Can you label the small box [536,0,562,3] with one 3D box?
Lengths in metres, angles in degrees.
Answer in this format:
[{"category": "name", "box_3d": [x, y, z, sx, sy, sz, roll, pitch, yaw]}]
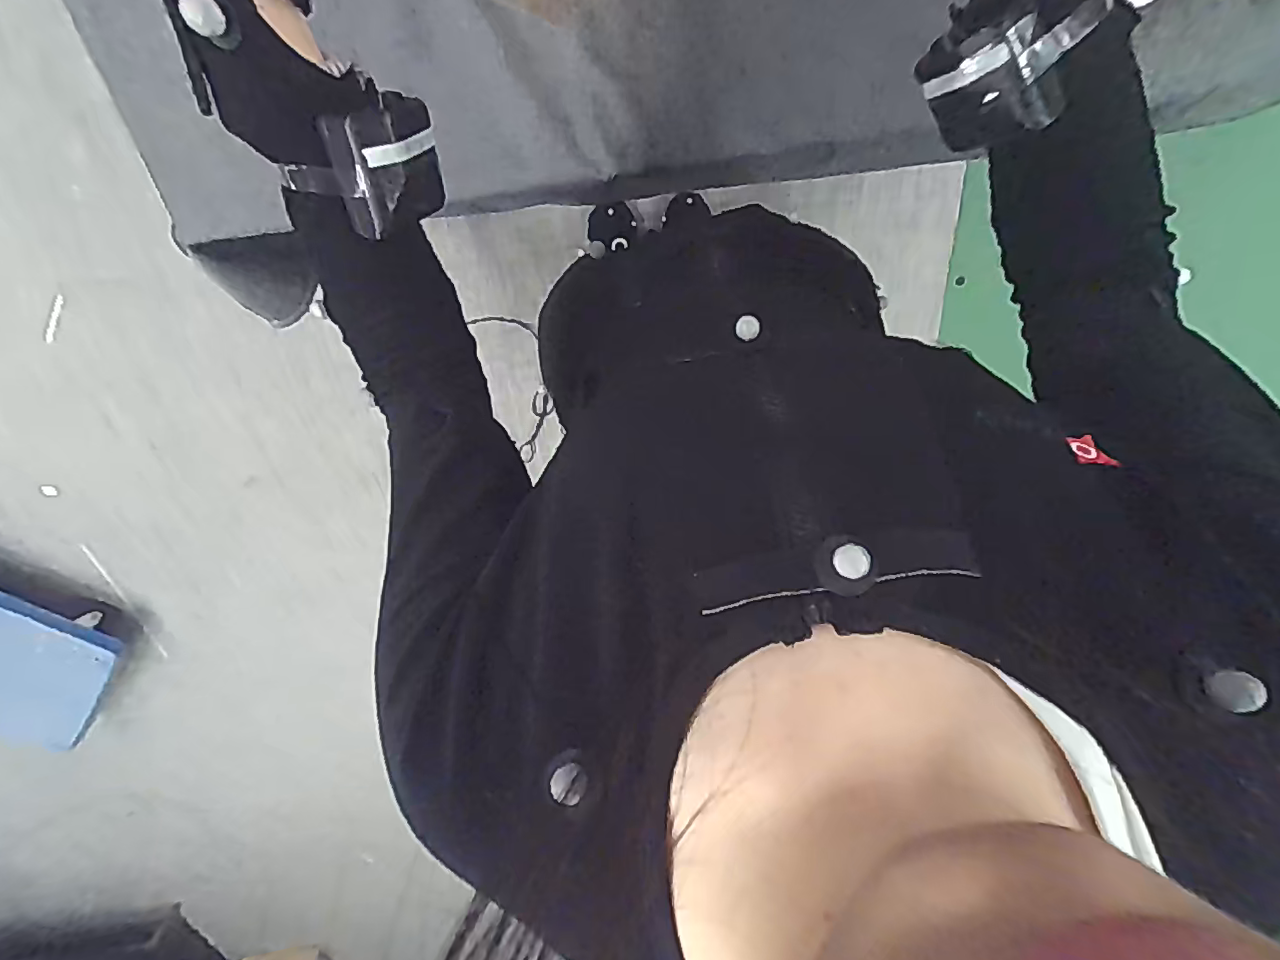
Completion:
[{"category": "small box", "box_3d": [-0.031, -0.343, 0.216, 0.179, 0.176, 0.168, -25, 122, 21]}]
